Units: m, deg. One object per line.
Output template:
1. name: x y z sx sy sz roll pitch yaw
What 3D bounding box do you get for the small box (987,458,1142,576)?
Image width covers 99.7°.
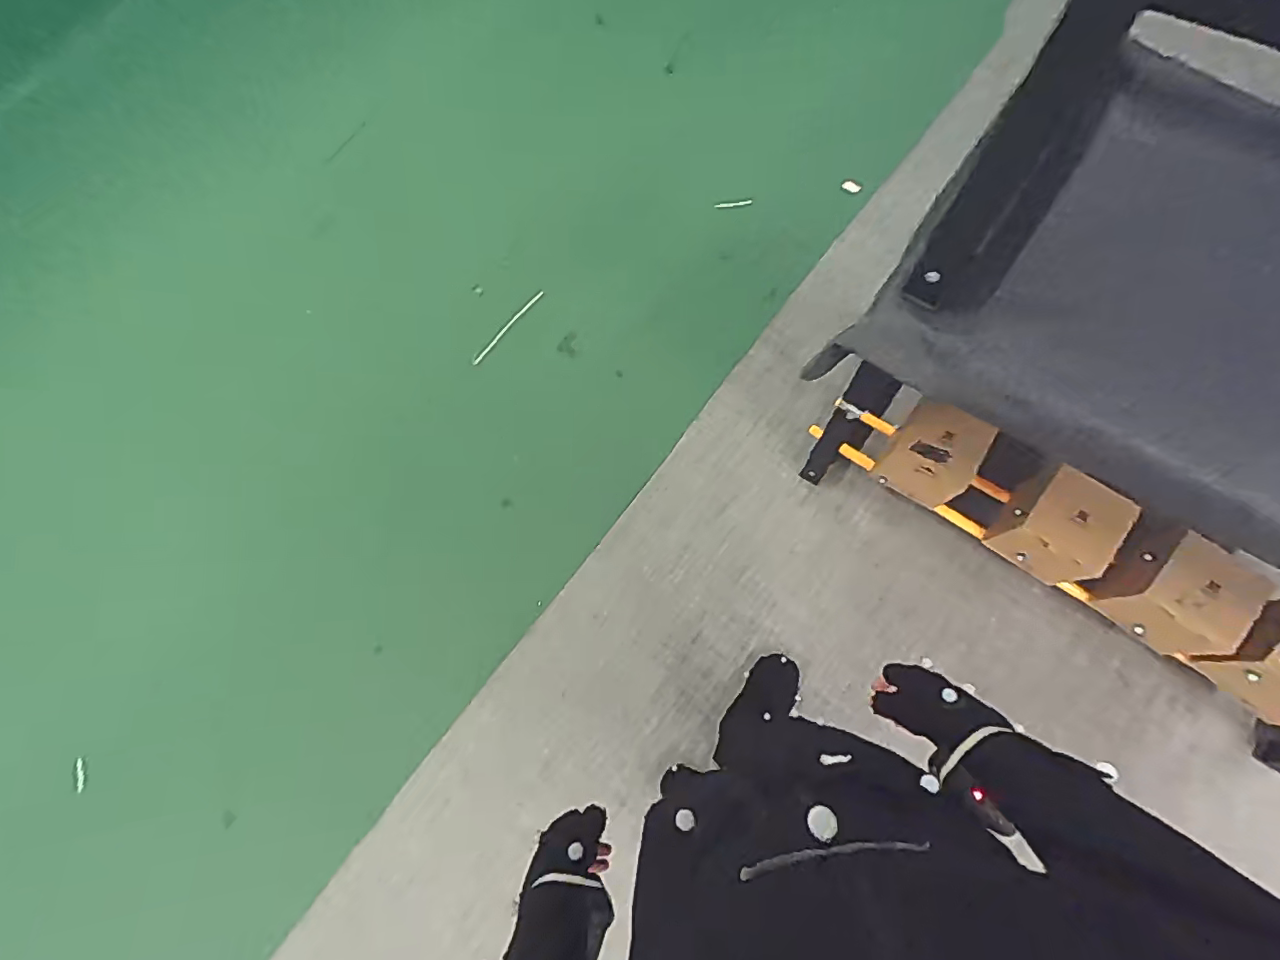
1. small box: 0.892 0.086 1.157 0.168 0.176 0.179 36 81 15
